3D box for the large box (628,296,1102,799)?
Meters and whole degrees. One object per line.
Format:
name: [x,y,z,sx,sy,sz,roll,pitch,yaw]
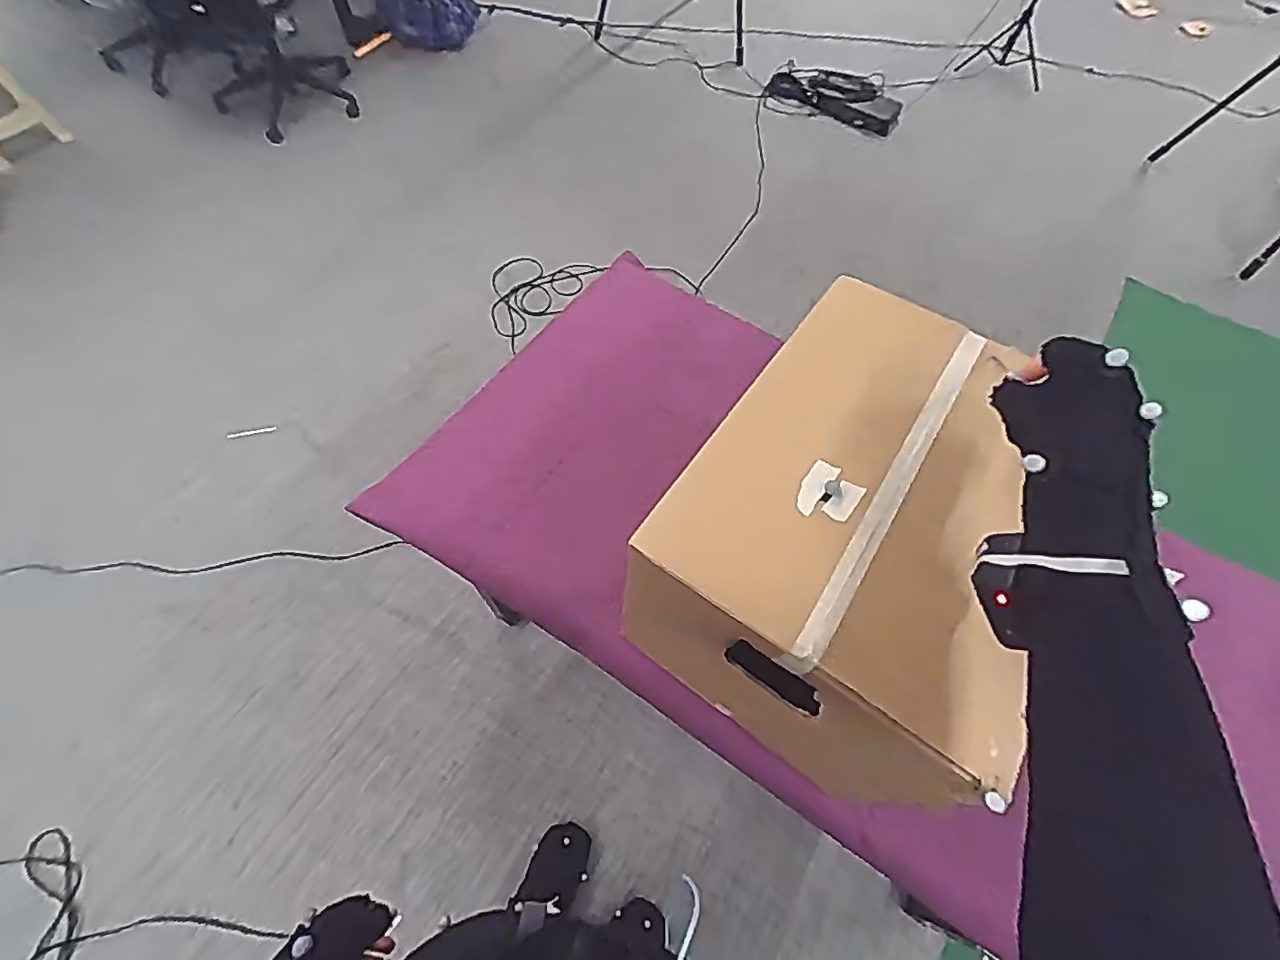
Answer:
large box: [0.225,0.077,0.629,0.320,0.320,0.408,33,65,15]
